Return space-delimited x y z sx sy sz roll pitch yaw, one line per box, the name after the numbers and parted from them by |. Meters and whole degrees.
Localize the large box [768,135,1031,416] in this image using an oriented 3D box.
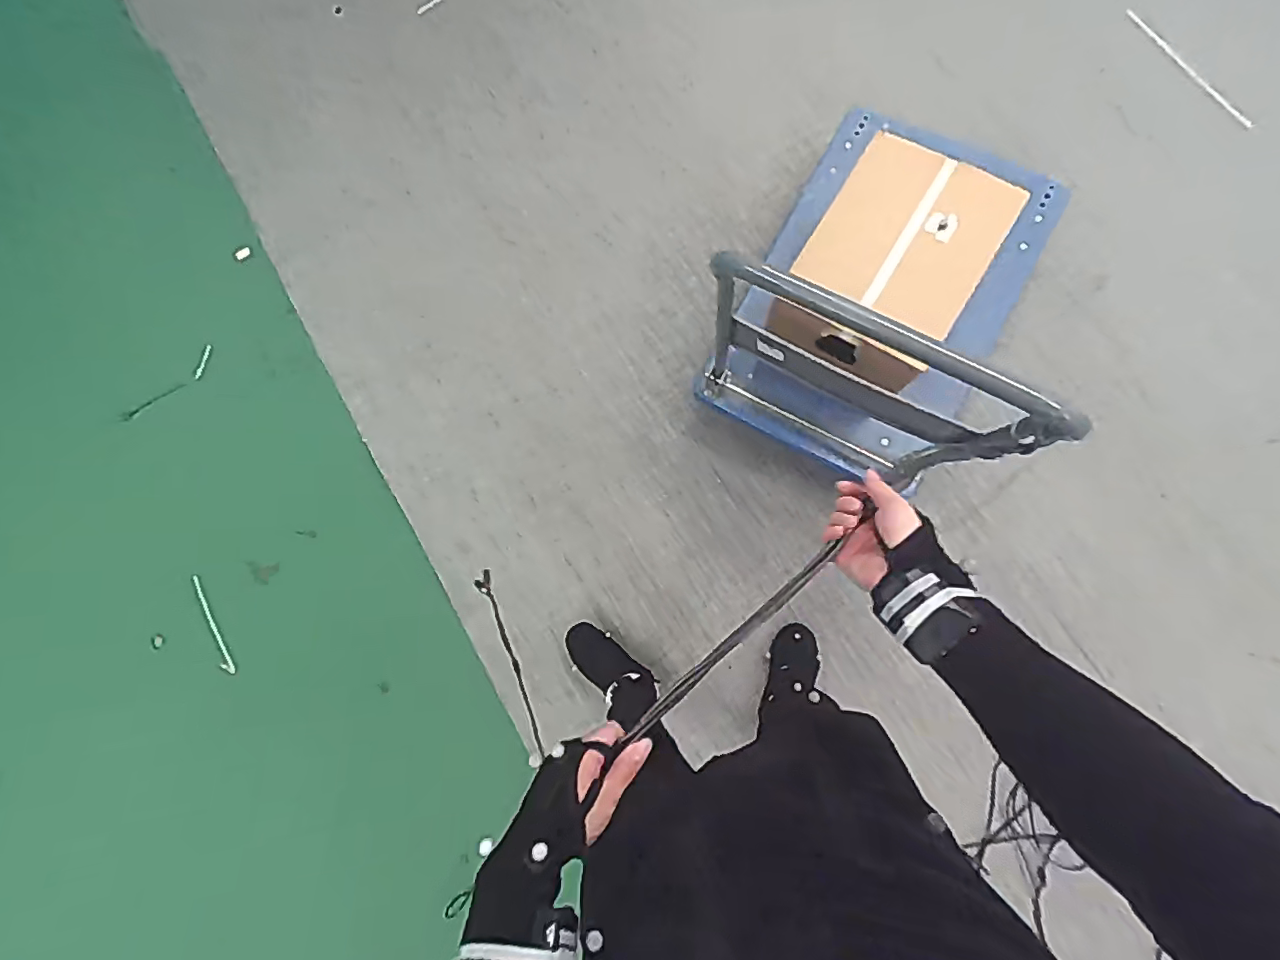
0.516 -0.409 1.159 0.320 0.320 0.408 31 85 10 | large box
